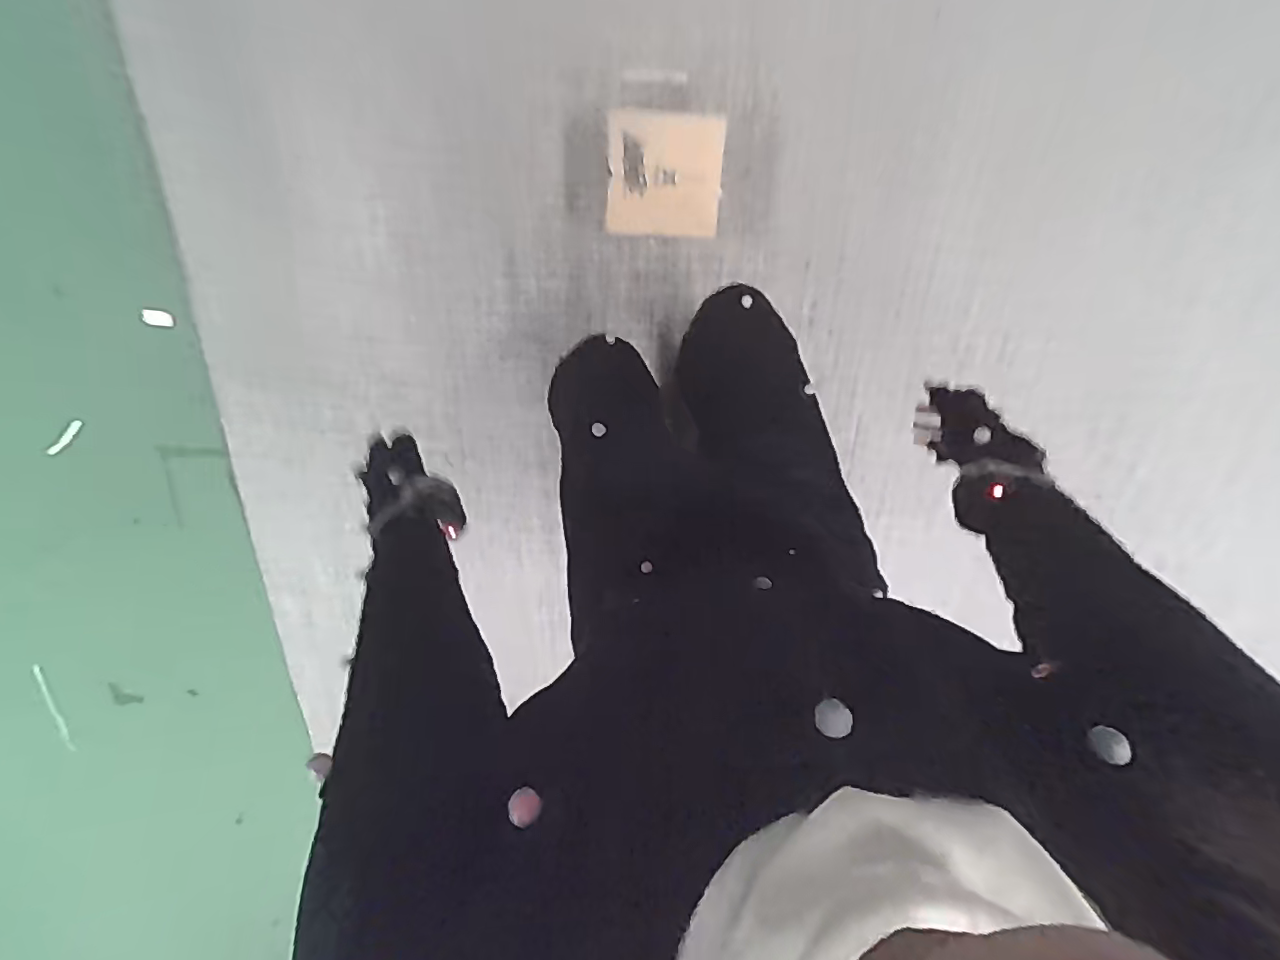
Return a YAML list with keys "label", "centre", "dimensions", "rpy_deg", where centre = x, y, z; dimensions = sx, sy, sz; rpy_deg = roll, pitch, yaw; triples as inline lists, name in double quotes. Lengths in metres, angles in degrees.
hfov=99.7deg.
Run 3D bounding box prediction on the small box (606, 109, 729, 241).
- label: "small box"
  centre: [0.041, -0.494, 0.897]
  dimensions: [0.179, 0.176, 0.168]
  rpy_deg: [4, 114, -1]
